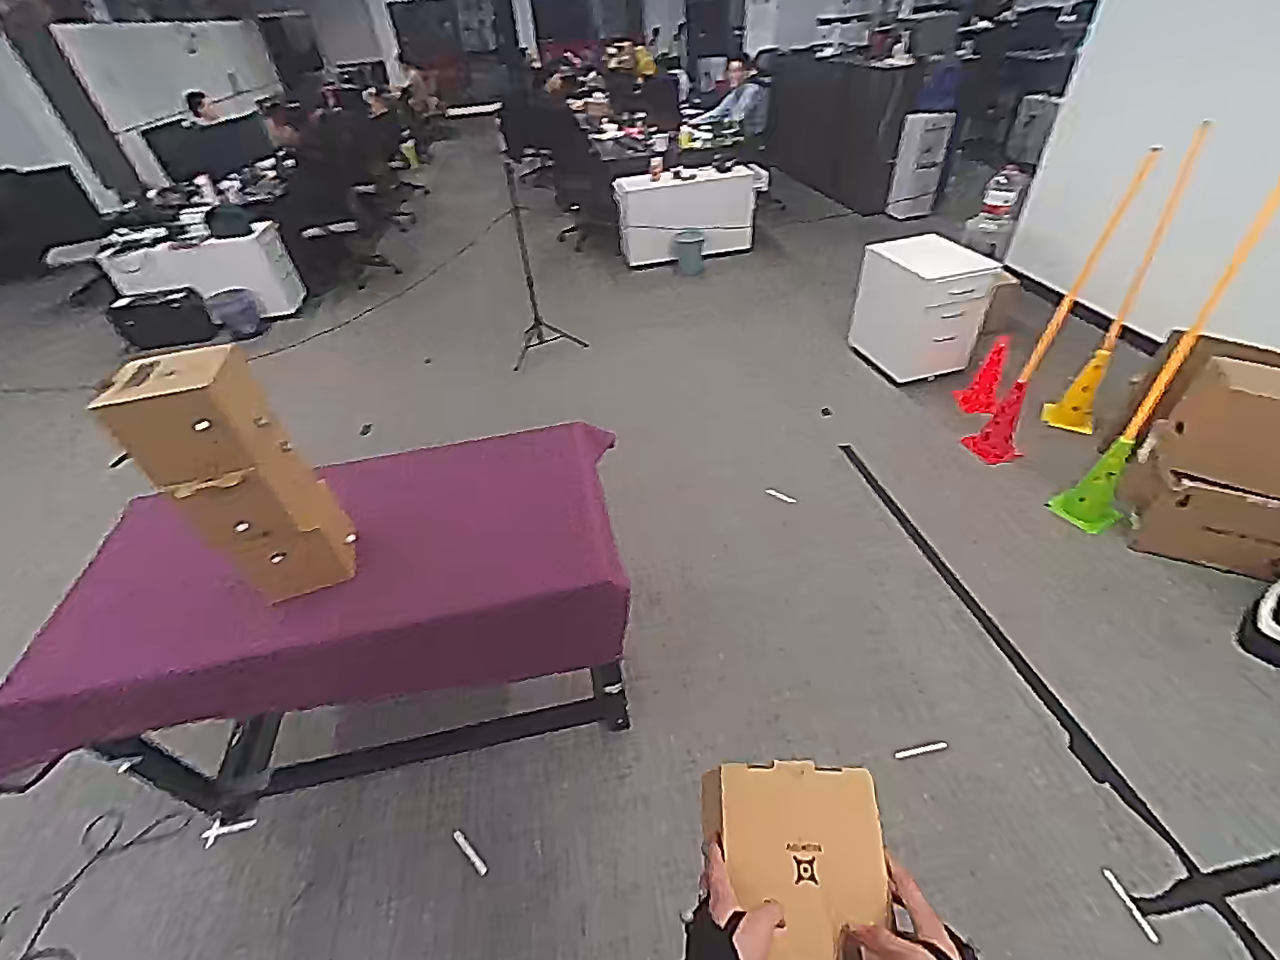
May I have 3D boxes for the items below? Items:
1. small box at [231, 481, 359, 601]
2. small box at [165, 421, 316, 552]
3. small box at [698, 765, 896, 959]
[{"bbox_3d":[-0.741,0.136,1.183,0.179,0.176,0.168,-17,43,-14],"label":"small box"},{"bbox_3d":[-0.776,0.012,1.077,0.168,0.176,0.179,-15,42,-9],"label":"small box"},{"bbox_3d":[0.157,0.424,0.603,0.168,0.176,0.179,1,57,0],"label":"small box"}]
